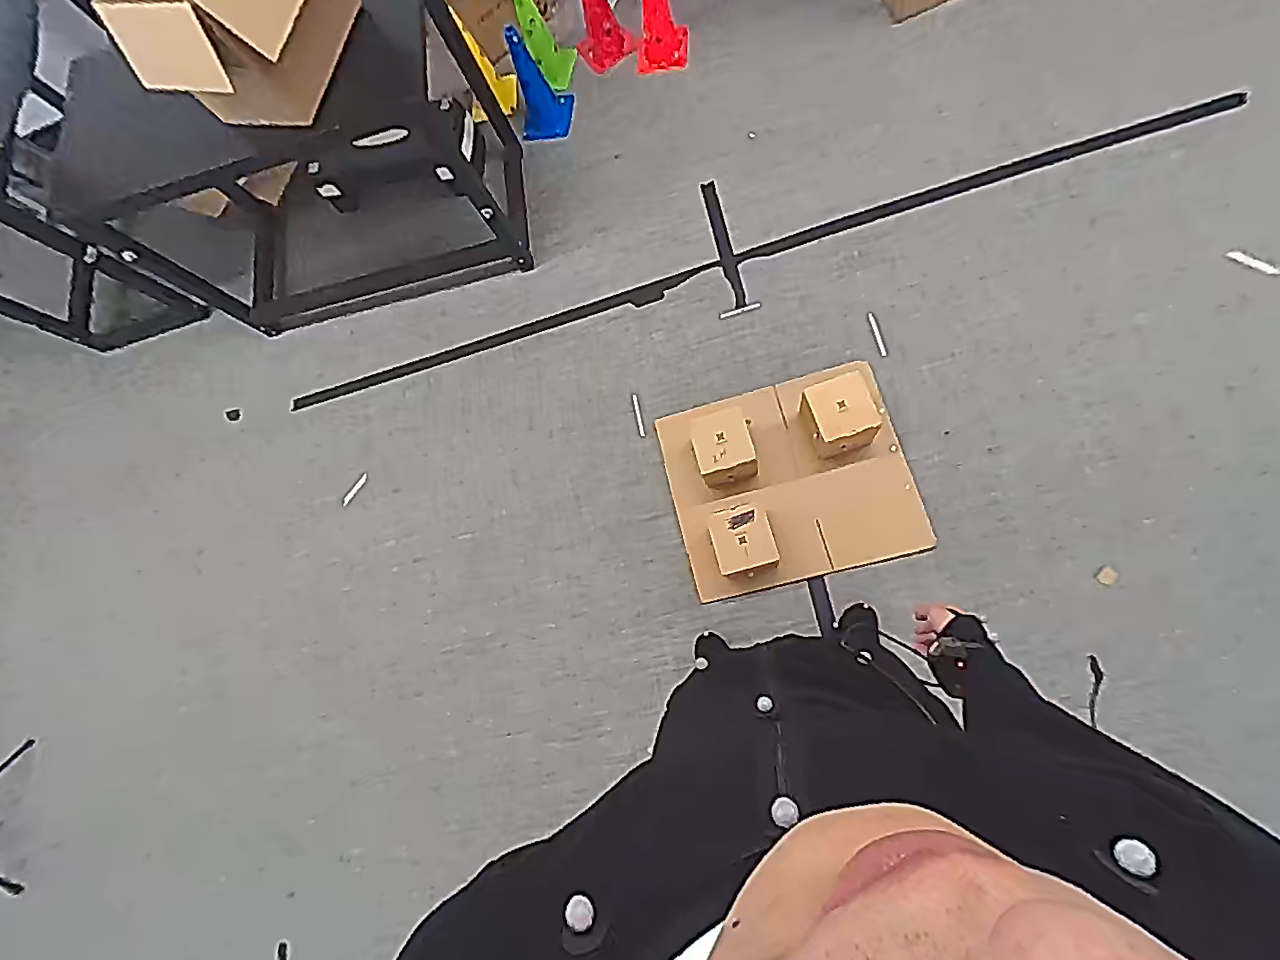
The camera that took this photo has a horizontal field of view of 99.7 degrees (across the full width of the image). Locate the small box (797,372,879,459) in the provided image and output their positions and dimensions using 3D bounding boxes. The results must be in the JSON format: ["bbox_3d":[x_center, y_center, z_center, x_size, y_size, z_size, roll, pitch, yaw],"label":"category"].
[{"bbox_3d":[0.571,-0.184,1.589,0.168,0.176,0.179,-20,74,7],"label":"small box"}]

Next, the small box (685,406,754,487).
[{"bbox_3d":[0.242,-0.095,1.632,0.168,0.176,0.179,-17,75,9],"label":"small box"}]

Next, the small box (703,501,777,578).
[{"bbox_3d":[0.288,0.177,1.560,0.168,0.176,0.179,-17,75,9],"label":"small box"}]
